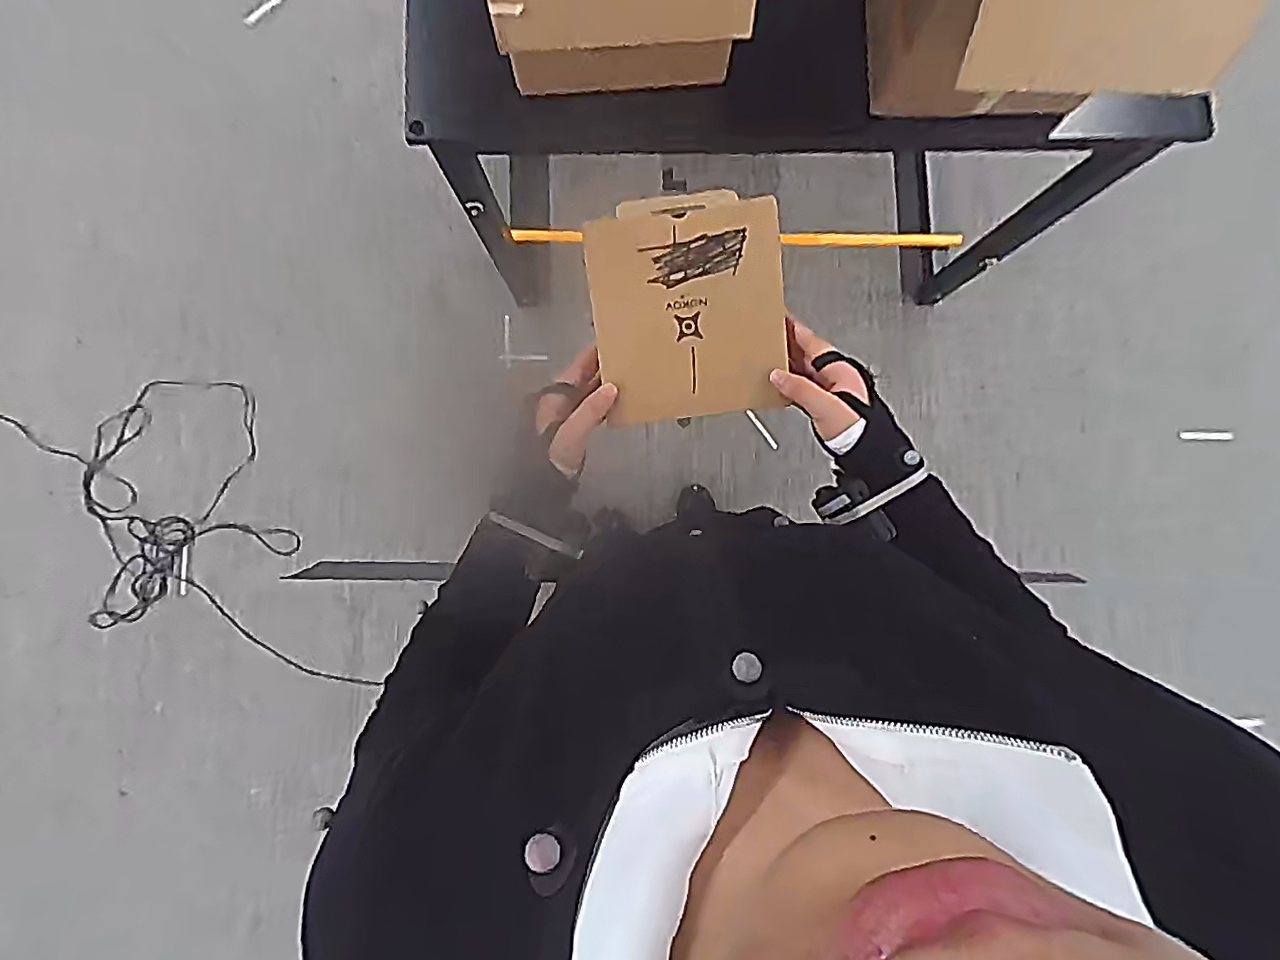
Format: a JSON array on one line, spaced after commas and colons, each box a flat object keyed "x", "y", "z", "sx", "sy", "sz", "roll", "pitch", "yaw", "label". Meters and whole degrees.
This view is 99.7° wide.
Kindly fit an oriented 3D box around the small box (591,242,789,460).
[{"x": 0.045, "y": -0.125, "z": 0.557, "sx": 0.168, "sy": 0.176, "sz": 0.179, "roll": -7, "pitch": 101, "yaw": 1, "label": "small box"}]
